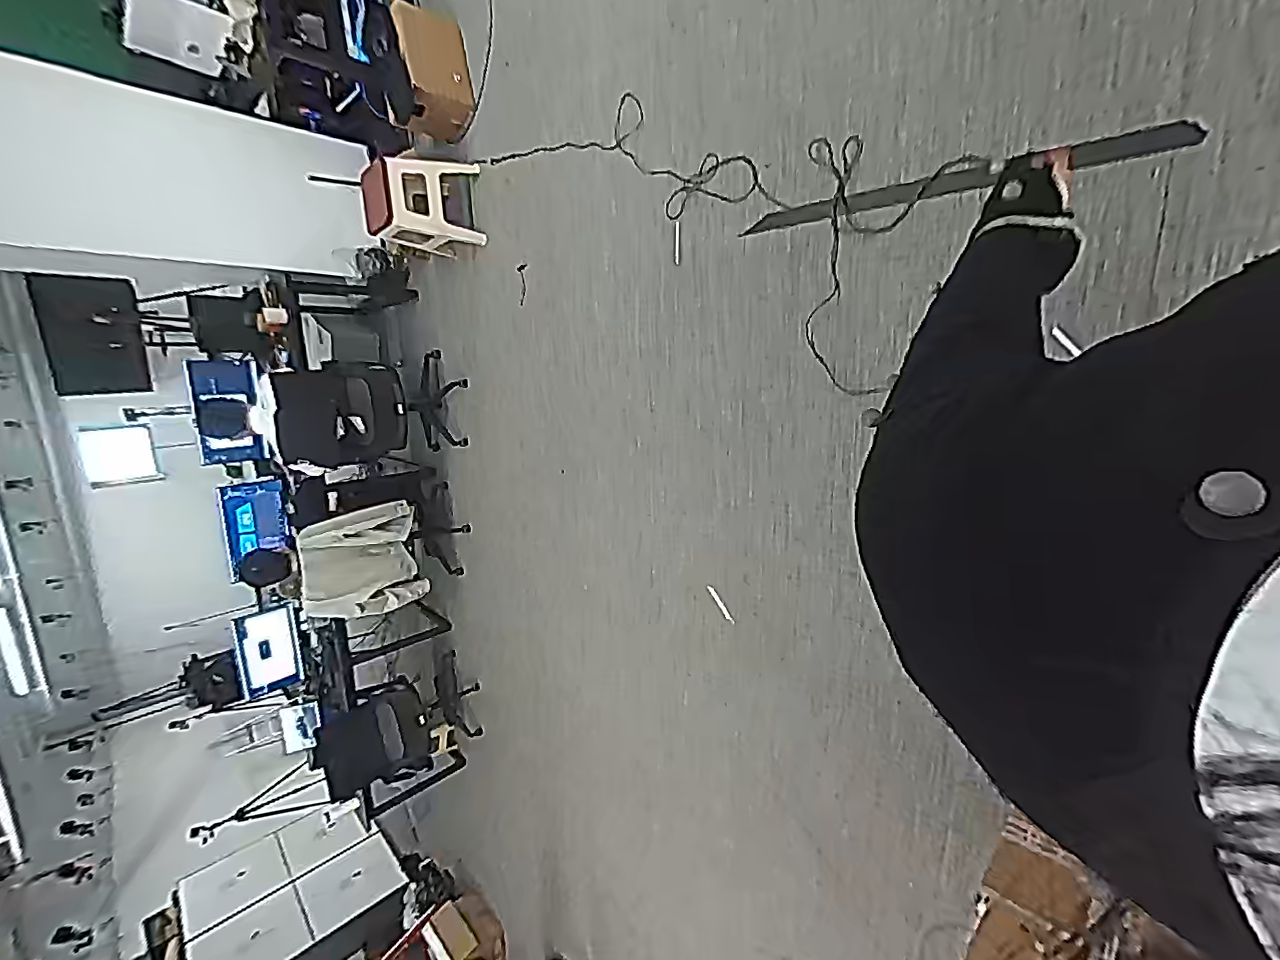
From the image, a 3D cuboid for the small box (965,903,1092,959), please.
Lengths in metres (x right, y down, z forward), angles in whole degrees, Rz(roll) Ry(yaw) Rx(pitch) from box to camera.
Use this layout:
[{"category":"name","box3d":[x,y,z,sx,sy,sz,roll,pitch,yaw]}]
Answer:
[{"category":"small box","box3d":[0.668,0.900,0.928,0.168,0.176,0.179,8,102,46]}]
